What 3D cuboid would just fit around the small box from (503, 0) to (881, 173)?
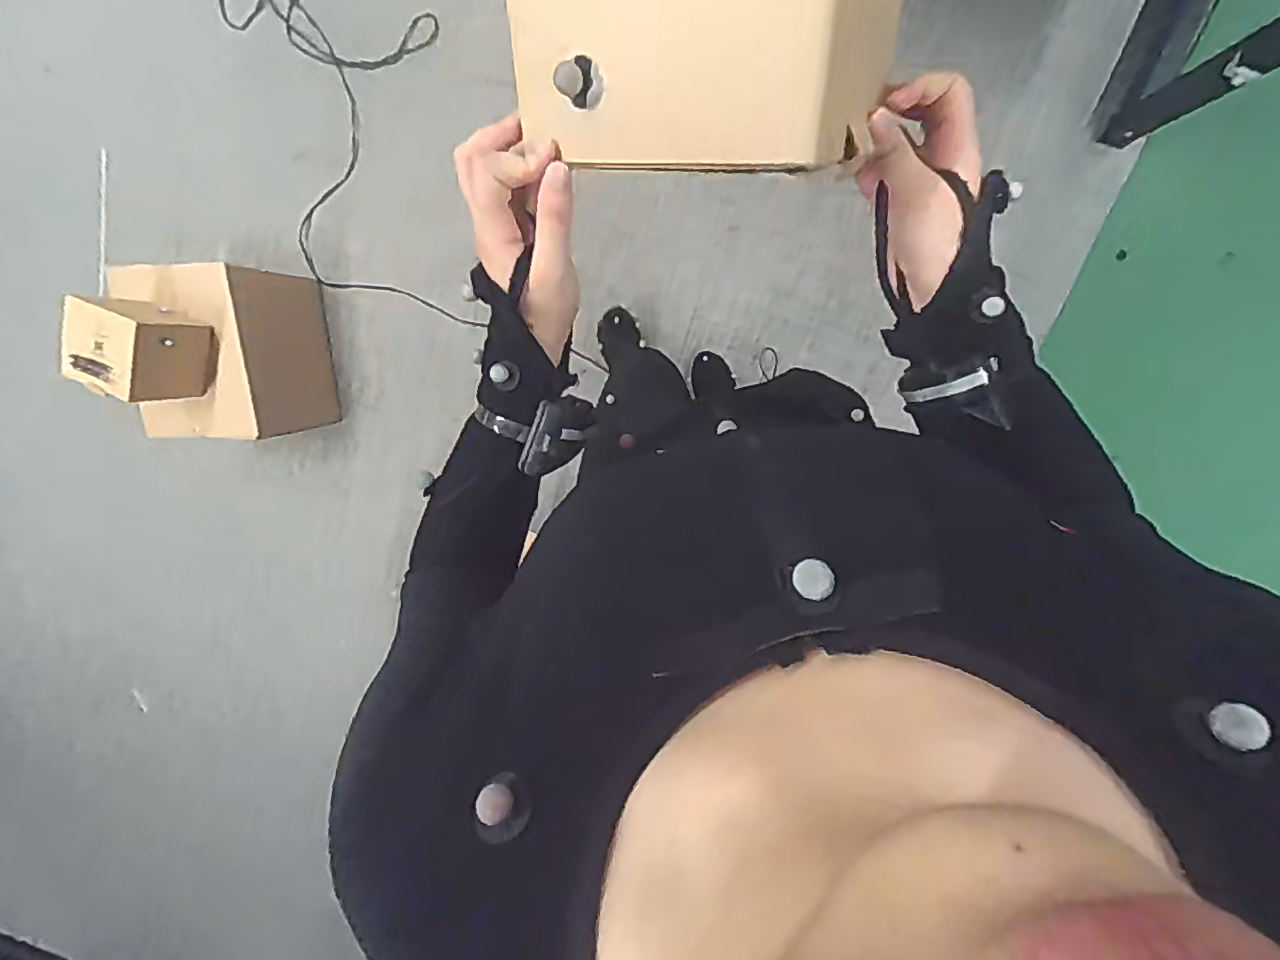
[{"bbox_3d":[0.037,-0.281,0.303,0.179,0.168,0.176,18,131,24],"label":"small box"}]
